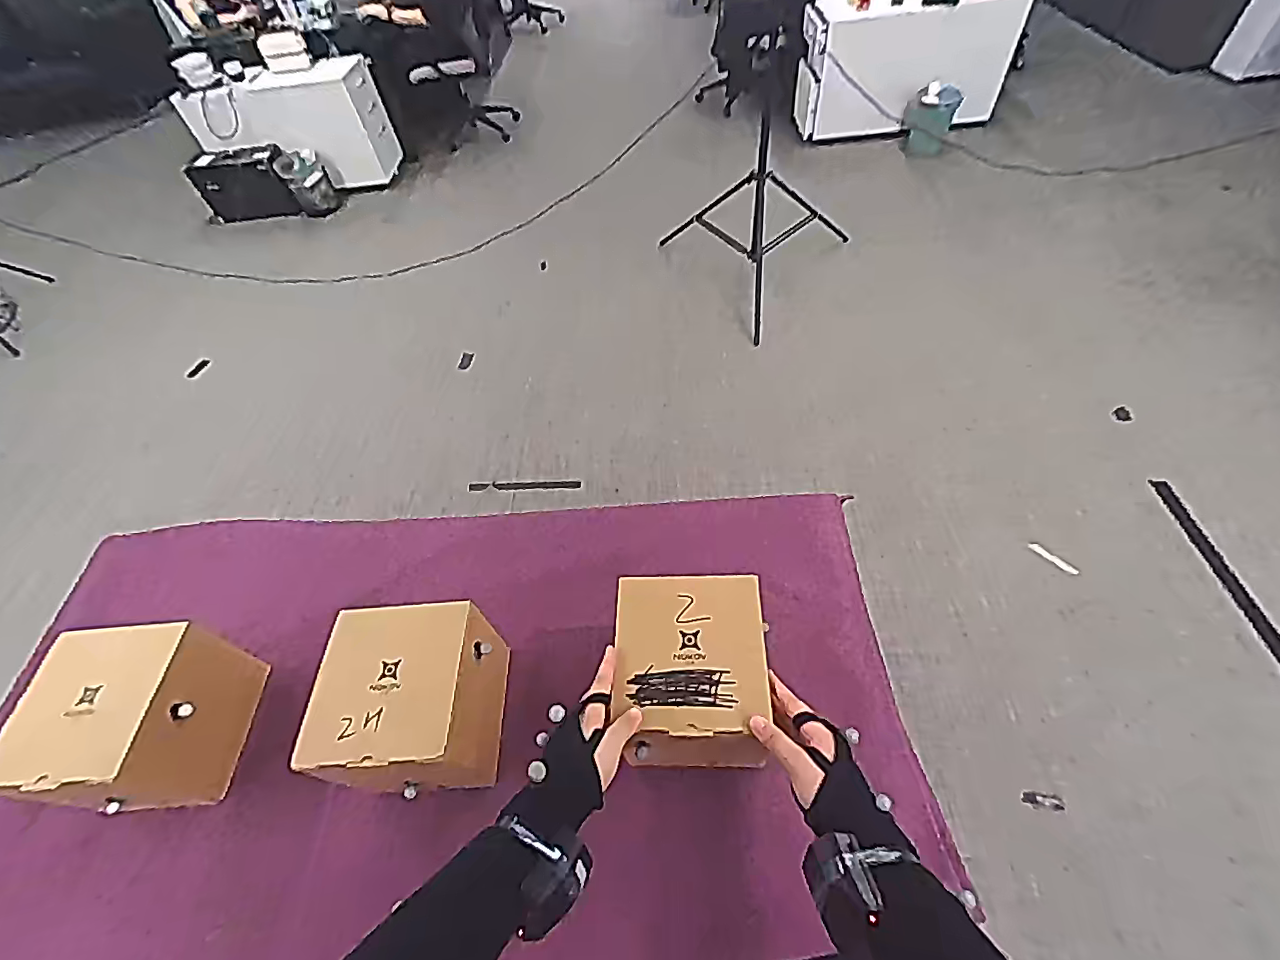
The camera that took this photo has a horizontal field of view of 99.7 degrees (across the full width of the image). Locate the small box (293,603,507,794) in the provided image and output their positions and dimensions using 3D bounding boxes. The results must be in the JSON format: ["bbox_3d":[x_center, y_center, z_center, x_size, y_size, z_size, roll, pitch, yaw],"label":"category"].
[{"bbox_3d":[-0.271,0.270,0.662,0.168,0.176,0.179,-5,53,3],"label":"small box"}]

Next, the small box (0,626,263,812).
[{"bbox_3d":[-0.623,0.302,0.679,0.168,0.176,0.179,-5,53,2],"label":"small box"}]
